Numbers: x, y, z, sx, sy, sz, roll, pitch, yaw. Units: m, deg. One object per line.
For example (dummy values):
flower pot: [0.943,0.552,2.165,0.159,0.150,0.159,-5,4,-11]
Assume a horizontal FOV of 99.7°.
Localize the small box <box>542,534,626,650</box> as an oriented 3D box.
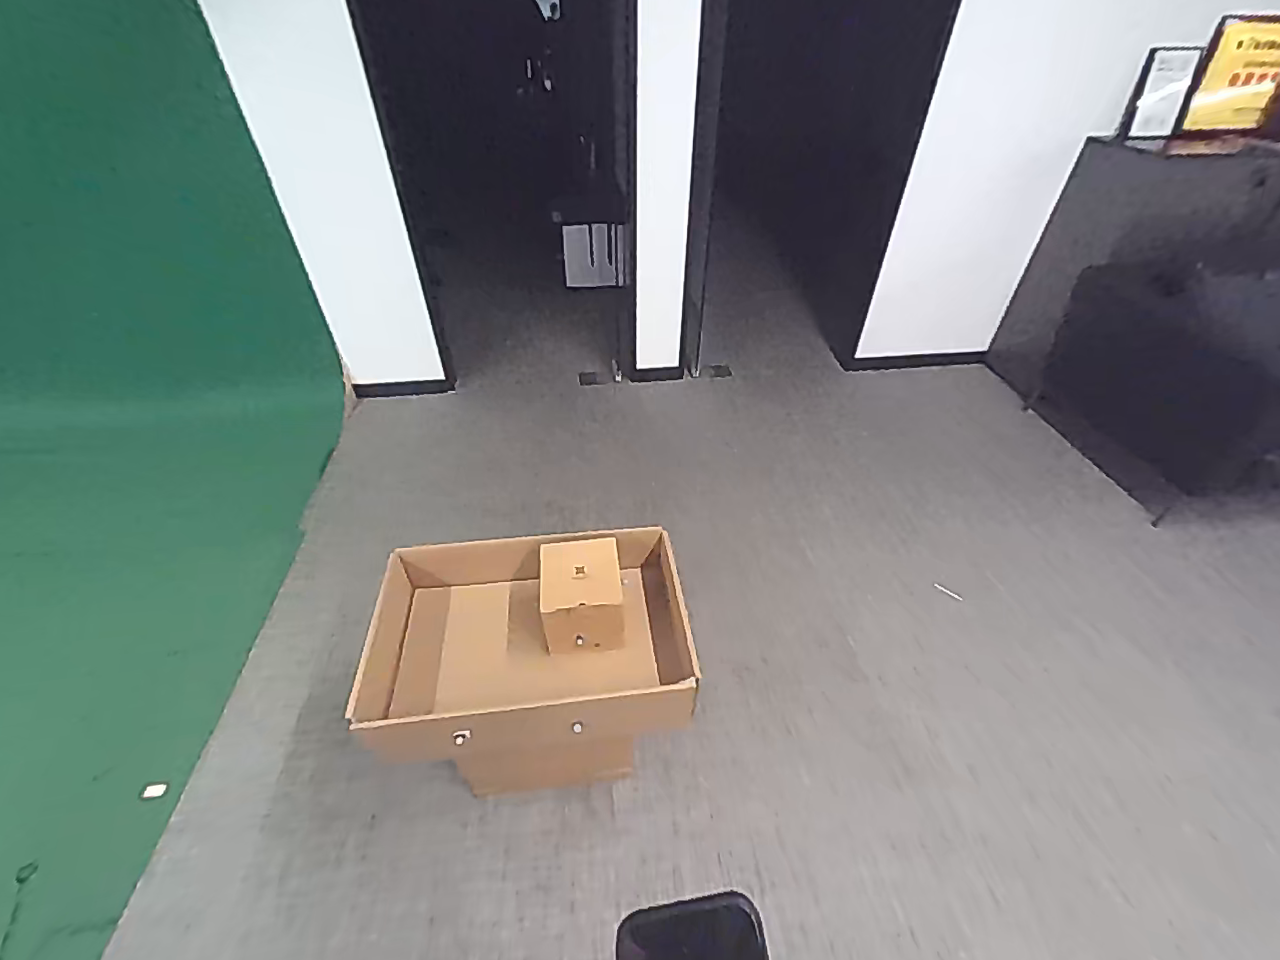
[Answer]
small box: [-0.120,0.242,1.170,0.168,0.176,0.179,-6,43,-5]
